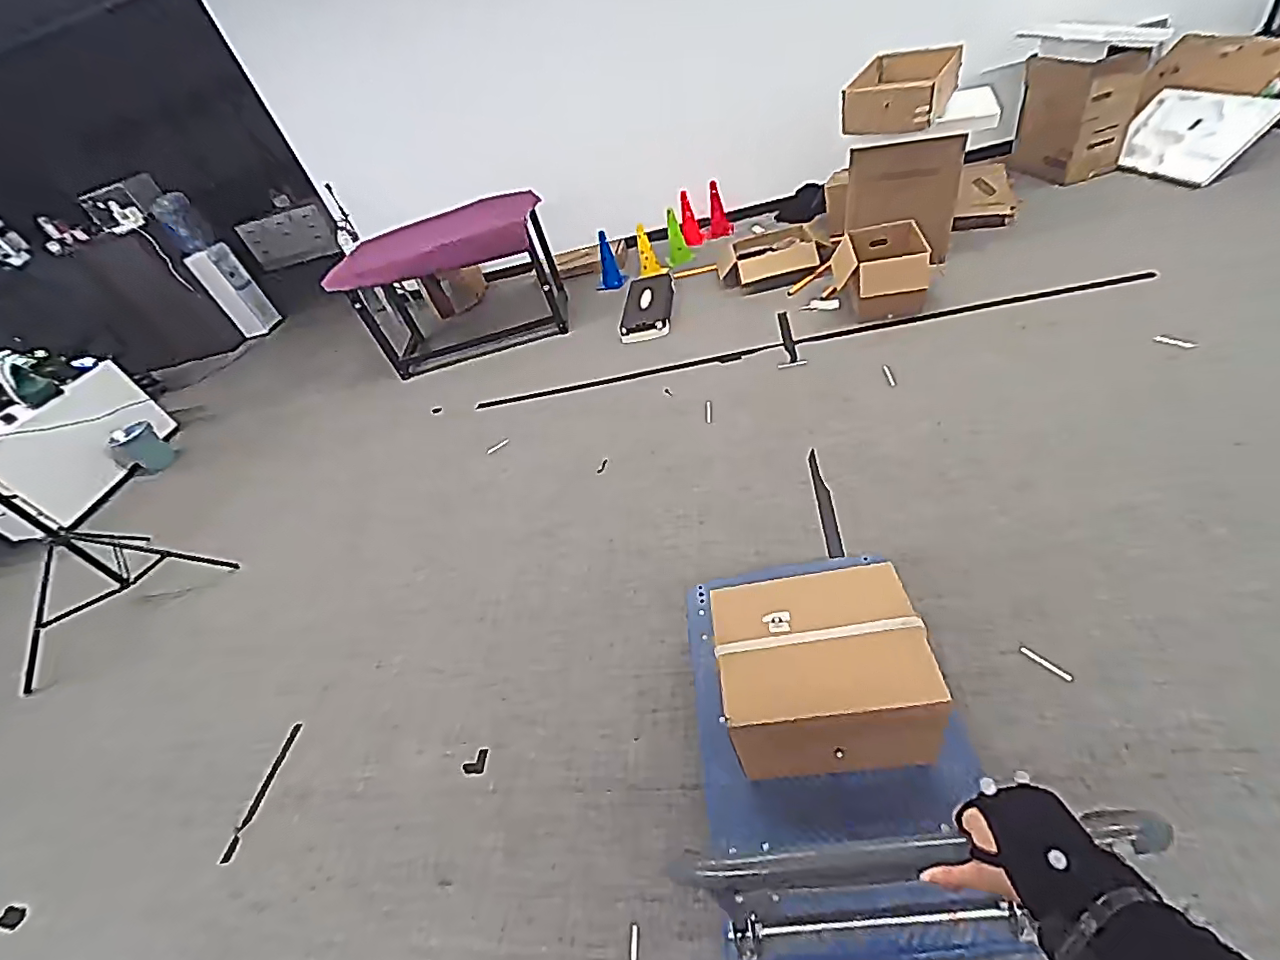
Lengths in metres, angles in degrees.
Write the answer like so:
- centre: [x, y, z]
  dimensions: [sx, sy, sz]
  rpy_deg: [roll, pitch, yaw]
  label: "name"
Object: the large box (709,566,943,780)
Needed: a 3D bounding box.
- centre: [0.396, 0.439, 1.211]
  dimensions: [0.408, 0.320, 0.320]
  rpy_deg: [-13, 41, 10]
  label: "large box"
